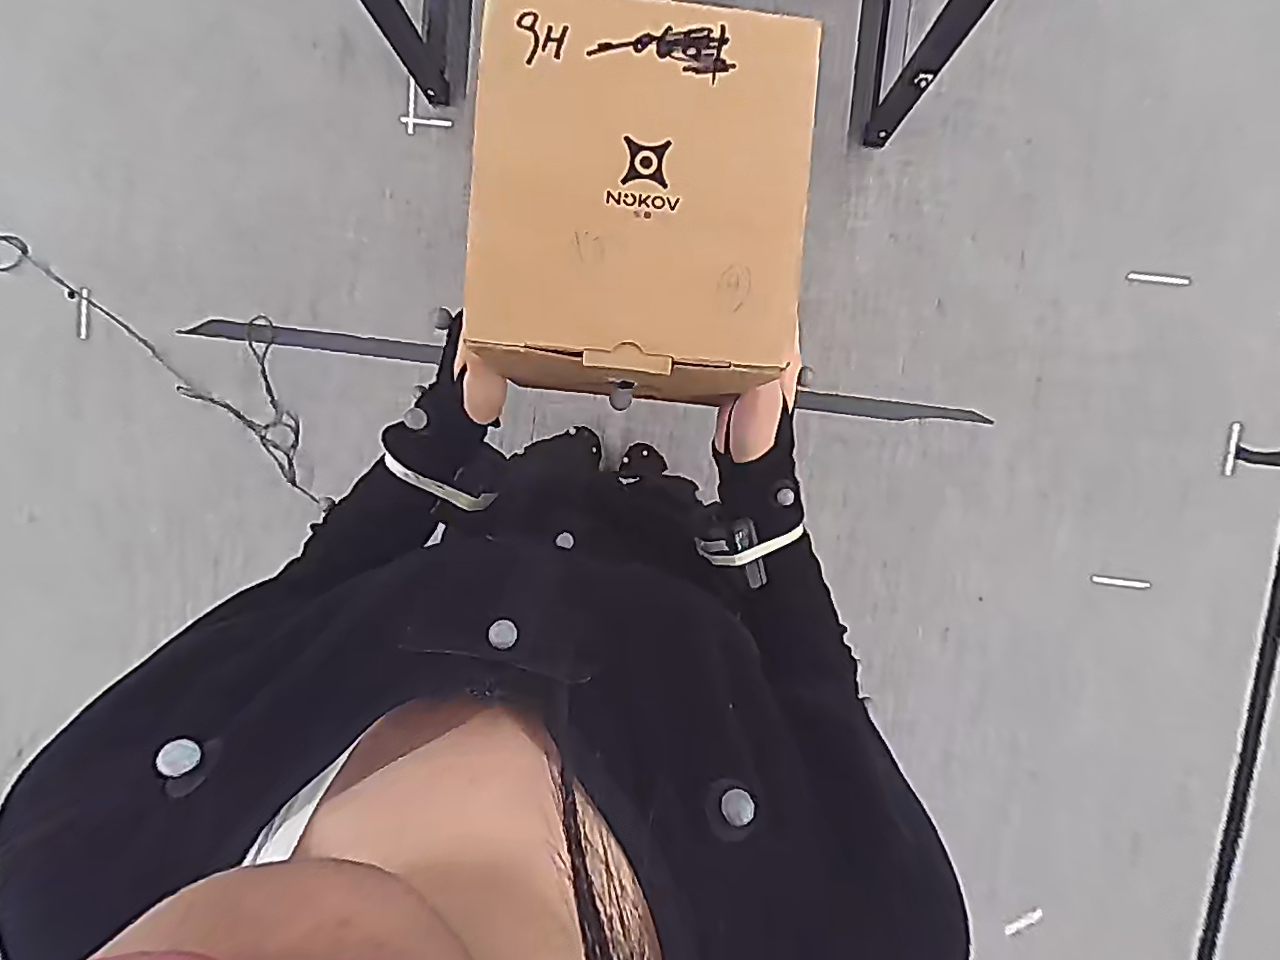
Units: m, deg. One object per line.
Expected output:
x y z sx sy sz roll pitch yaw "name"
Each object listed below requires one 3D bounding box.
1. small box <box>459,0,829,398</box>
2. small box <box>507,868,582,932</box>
-0.003 -0.149 0.338 0.168 0.176 0.179 5 93 -5 "small box"
-0.264 1.212 1.485 0.179 0.176 0.168 8 94 -1 "small box"
